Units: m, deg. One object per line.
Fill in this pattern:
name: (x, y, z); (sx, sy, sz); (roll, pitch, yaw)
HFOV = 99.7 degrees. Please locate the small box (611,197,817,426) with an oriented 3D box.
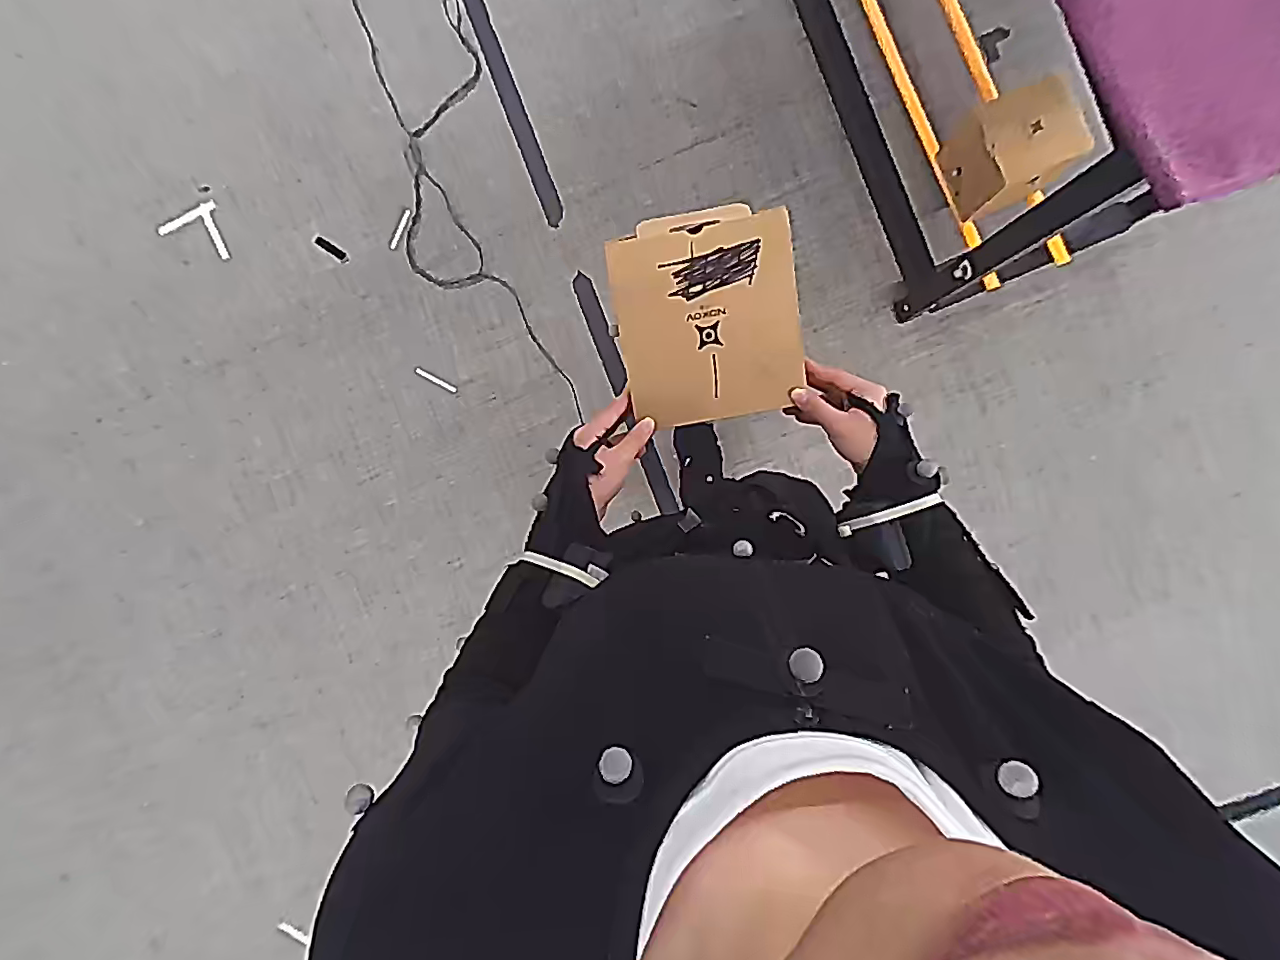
small box: (0.071, -0.162, 0.561); (0.168, 0.176, 0.179); (-10, 102, 5)

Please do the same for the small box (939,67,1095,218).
small box: (0.757, -0.676, 1.105); (0.179, 0.176, 0.168); (-23, 90, 6)
